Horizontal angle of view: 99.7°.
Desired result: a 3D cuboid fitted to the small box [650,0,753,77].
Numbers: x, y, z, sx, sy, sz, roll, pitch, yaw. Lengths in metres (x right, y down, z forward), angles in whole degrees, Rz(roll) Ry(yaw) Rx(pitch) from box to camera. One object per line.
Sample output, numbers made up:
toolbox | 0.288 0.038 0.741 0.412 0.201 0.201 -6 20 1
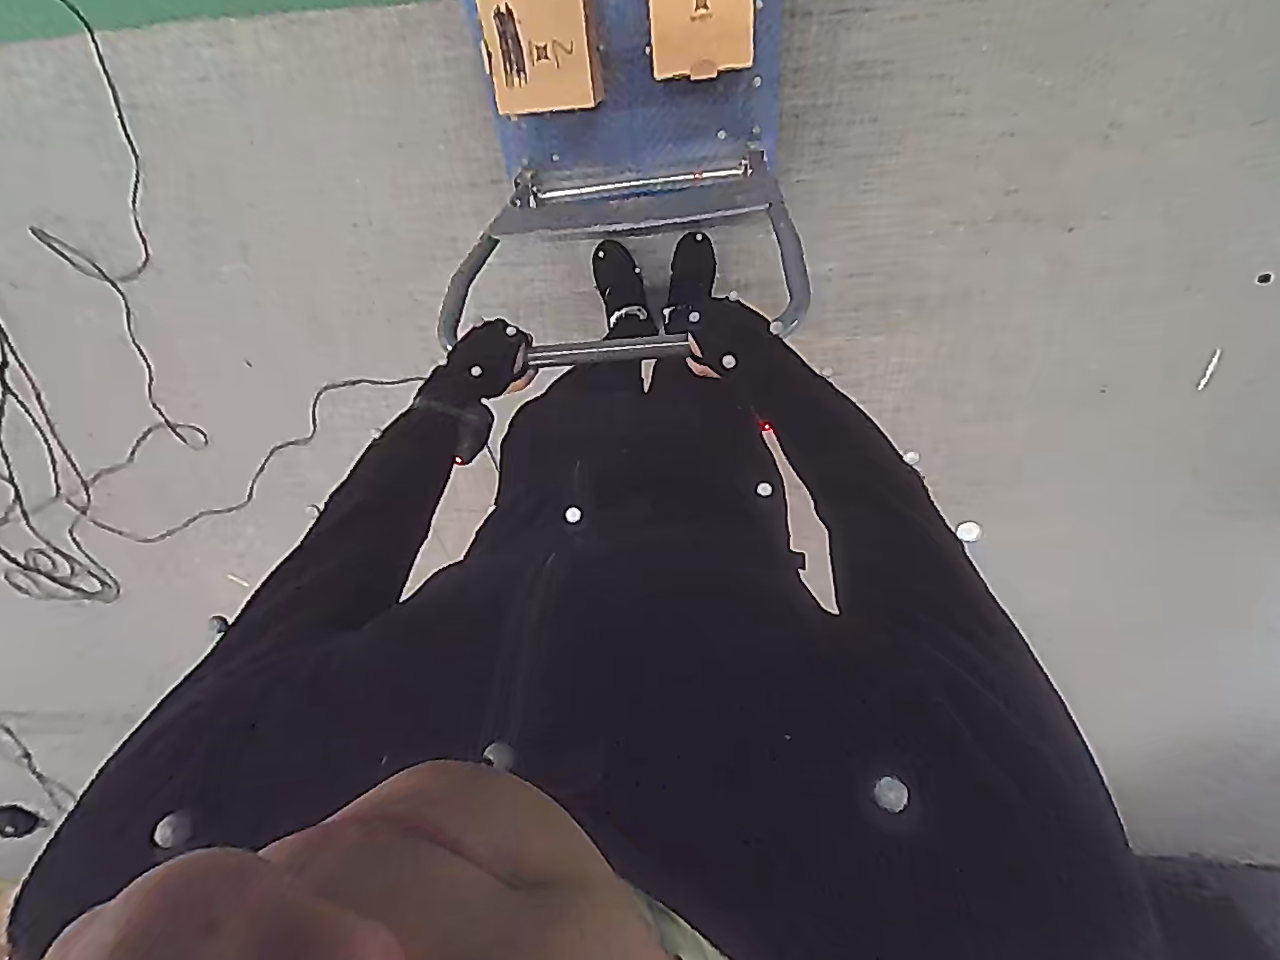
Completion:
small box | 0.101 -0.804 0.917 0.168 0.176 0.179 -3 130 7
